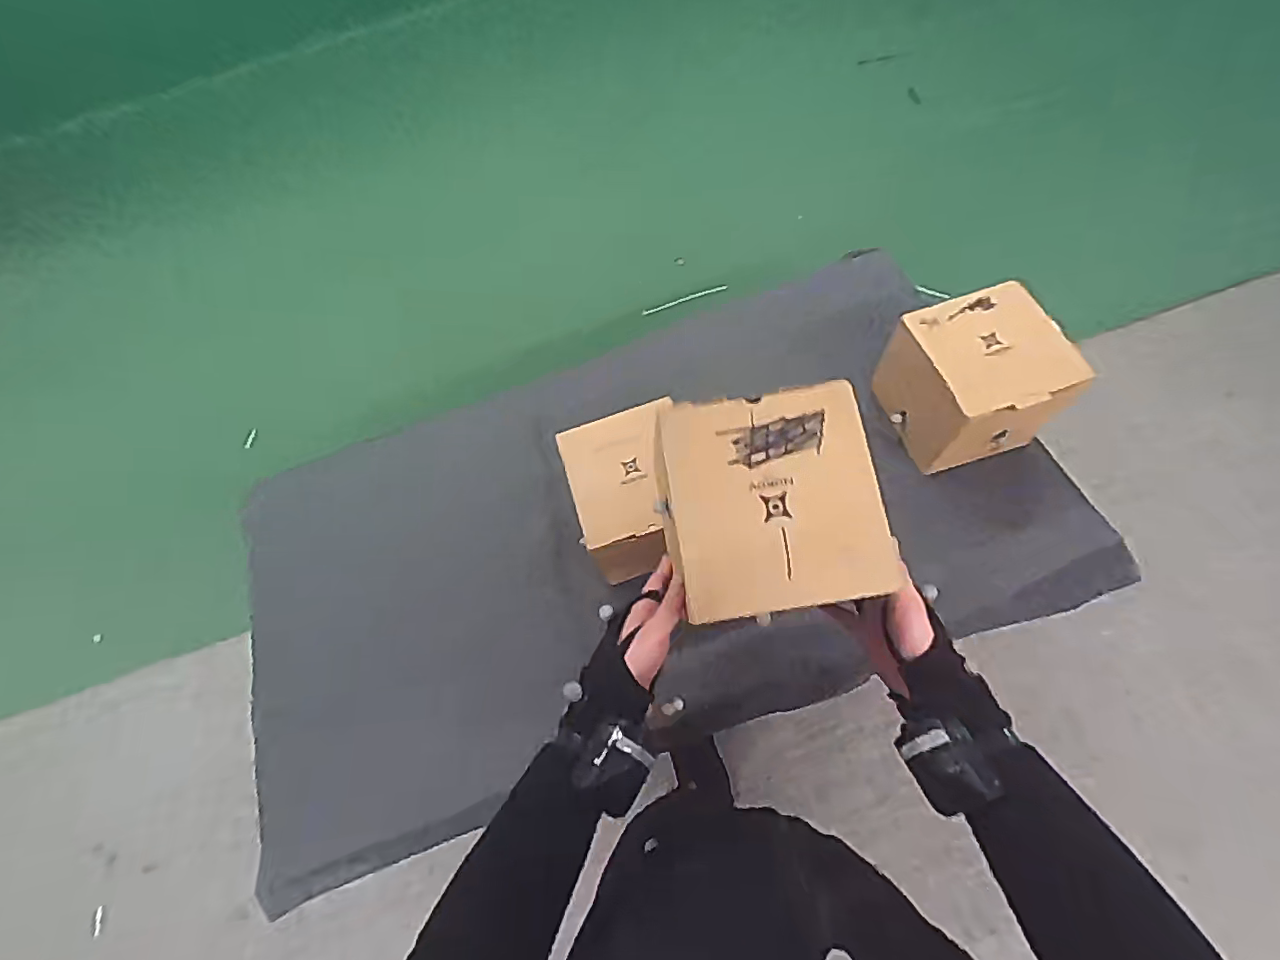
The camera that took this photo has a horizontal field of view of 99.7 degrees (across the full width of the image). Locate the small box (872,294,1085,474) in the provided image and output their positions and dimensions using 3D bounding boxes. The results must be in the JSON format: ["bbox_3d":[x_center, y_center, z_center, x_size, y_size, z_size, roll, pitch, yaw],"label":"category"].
[{"bbox_3d":[0.464,-0.125,0.778,0.168,0.176,0.179,-18,65,0],"label":"small box"}]

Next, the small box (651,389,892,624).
[{"bbox_3d":[0.103,0.035,0.513,0.168,0.176,0.179,-9,78,-1],"label":"small box"}]

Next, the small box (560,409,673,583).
[{"bbox_3d":[0.002,0.034,0.768,0.168,0.176,0.179,-19,64,-3],"label":"small box"}]
